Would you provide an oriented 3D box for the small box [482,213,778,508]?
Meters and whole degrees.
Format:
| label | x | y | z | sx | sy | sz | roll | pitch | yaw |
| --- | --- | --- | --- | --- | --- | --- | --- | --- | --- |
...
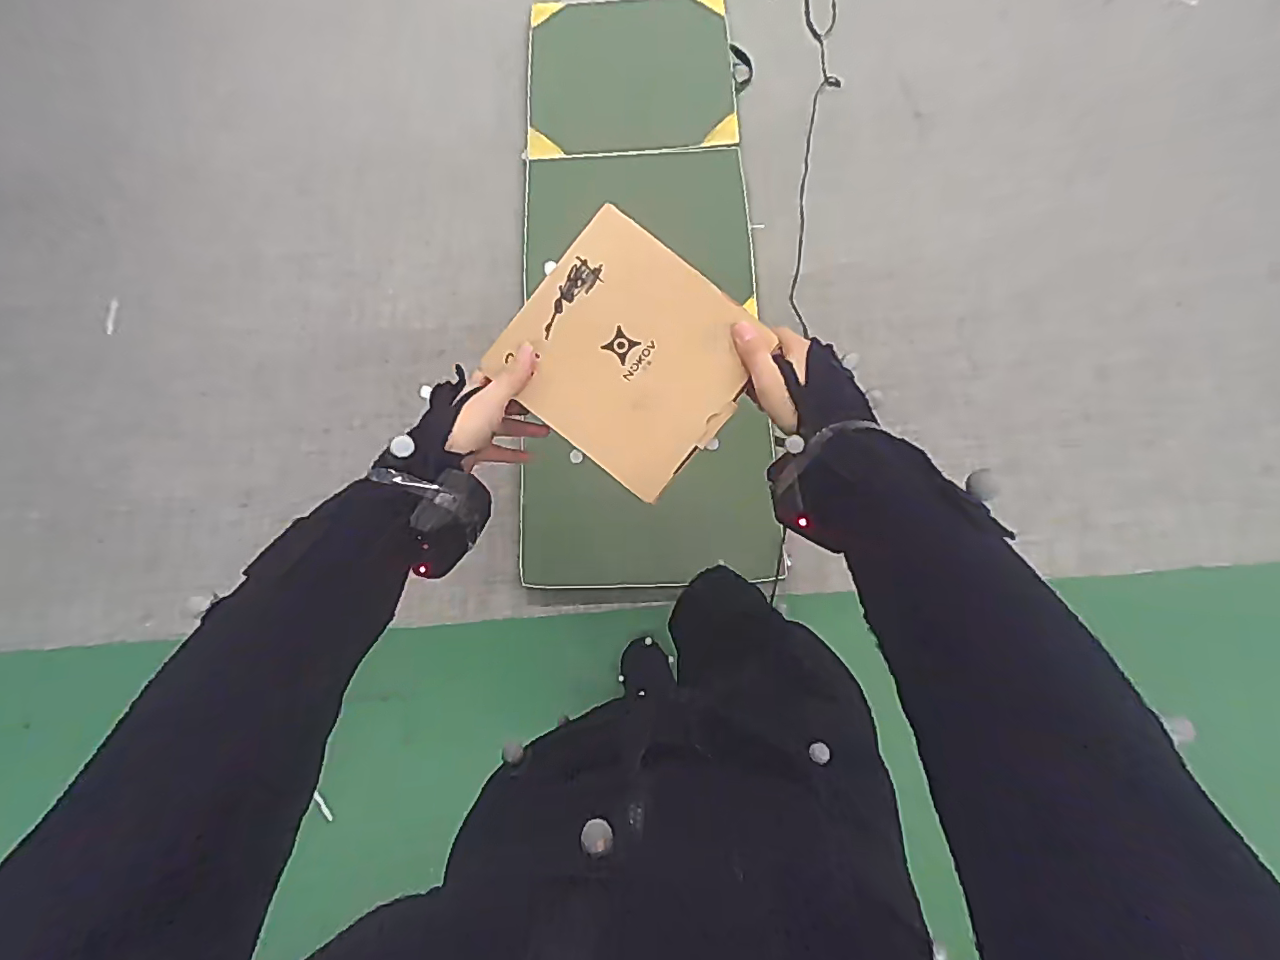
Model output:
| label | x | y | z | sx | sy | sz | roll | pitch | yaw |
| --- | --- | --- | --- | --- | --- | --- | --- | --- | --- |
| small box | -0.007 | -0.095 | 0.501 | 0.179 | 0.176 | 0.168 | 39 | 90 | 0 |
